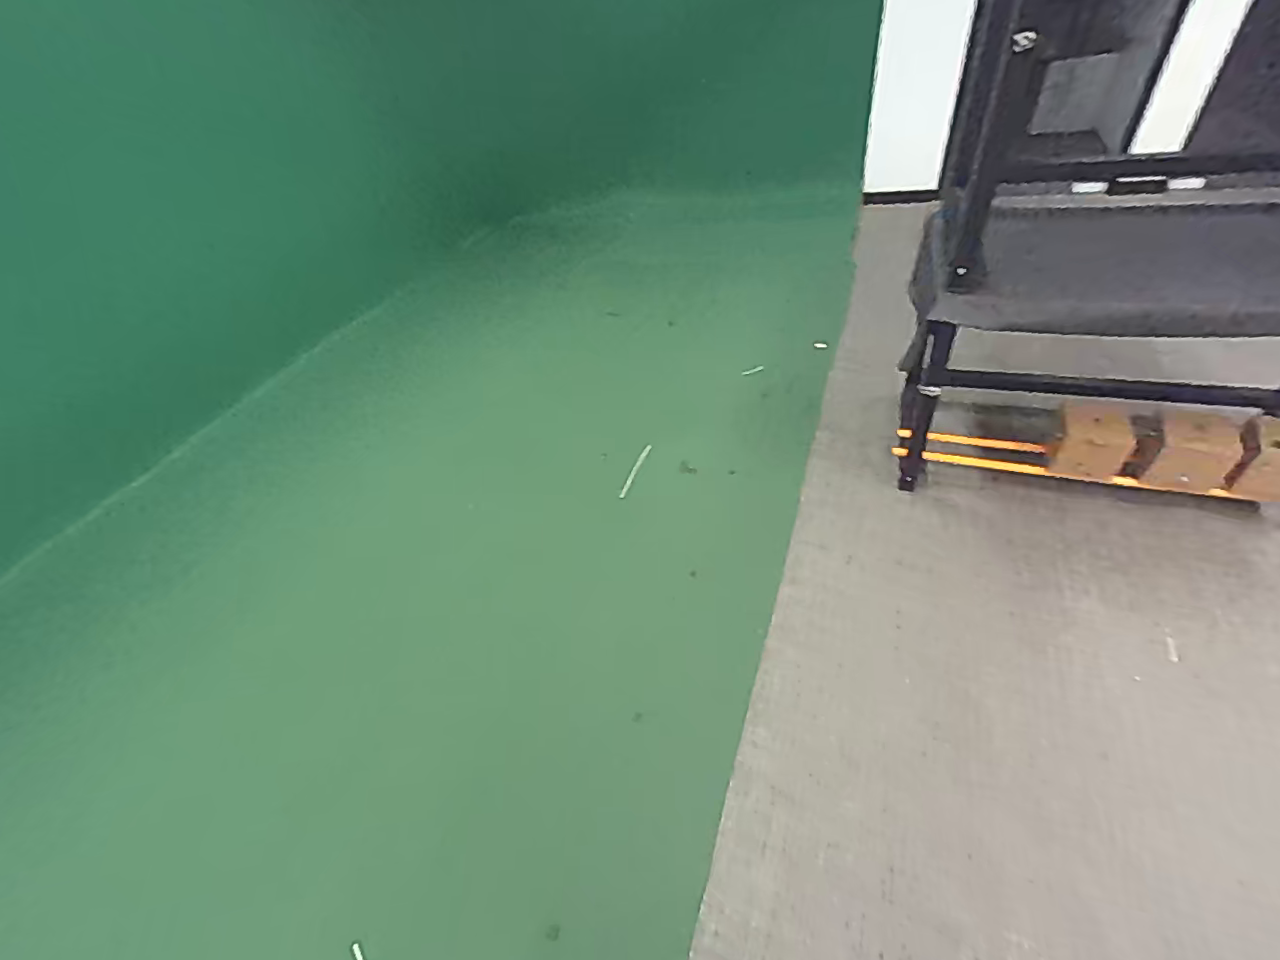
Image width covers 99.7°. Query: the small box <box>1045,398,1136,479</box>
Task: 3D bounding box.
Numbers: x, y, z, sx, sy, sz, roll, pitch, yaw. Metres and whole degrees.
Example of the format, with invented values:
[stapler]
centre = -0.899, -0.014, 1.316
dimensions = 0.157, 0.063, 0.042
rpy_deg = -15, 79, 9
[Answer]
[small box]
centre = 1.404, -0.131, 1.698
dimensions = 0.168, 0.176, 0.179
rpy_deg = 11, 51, 21
